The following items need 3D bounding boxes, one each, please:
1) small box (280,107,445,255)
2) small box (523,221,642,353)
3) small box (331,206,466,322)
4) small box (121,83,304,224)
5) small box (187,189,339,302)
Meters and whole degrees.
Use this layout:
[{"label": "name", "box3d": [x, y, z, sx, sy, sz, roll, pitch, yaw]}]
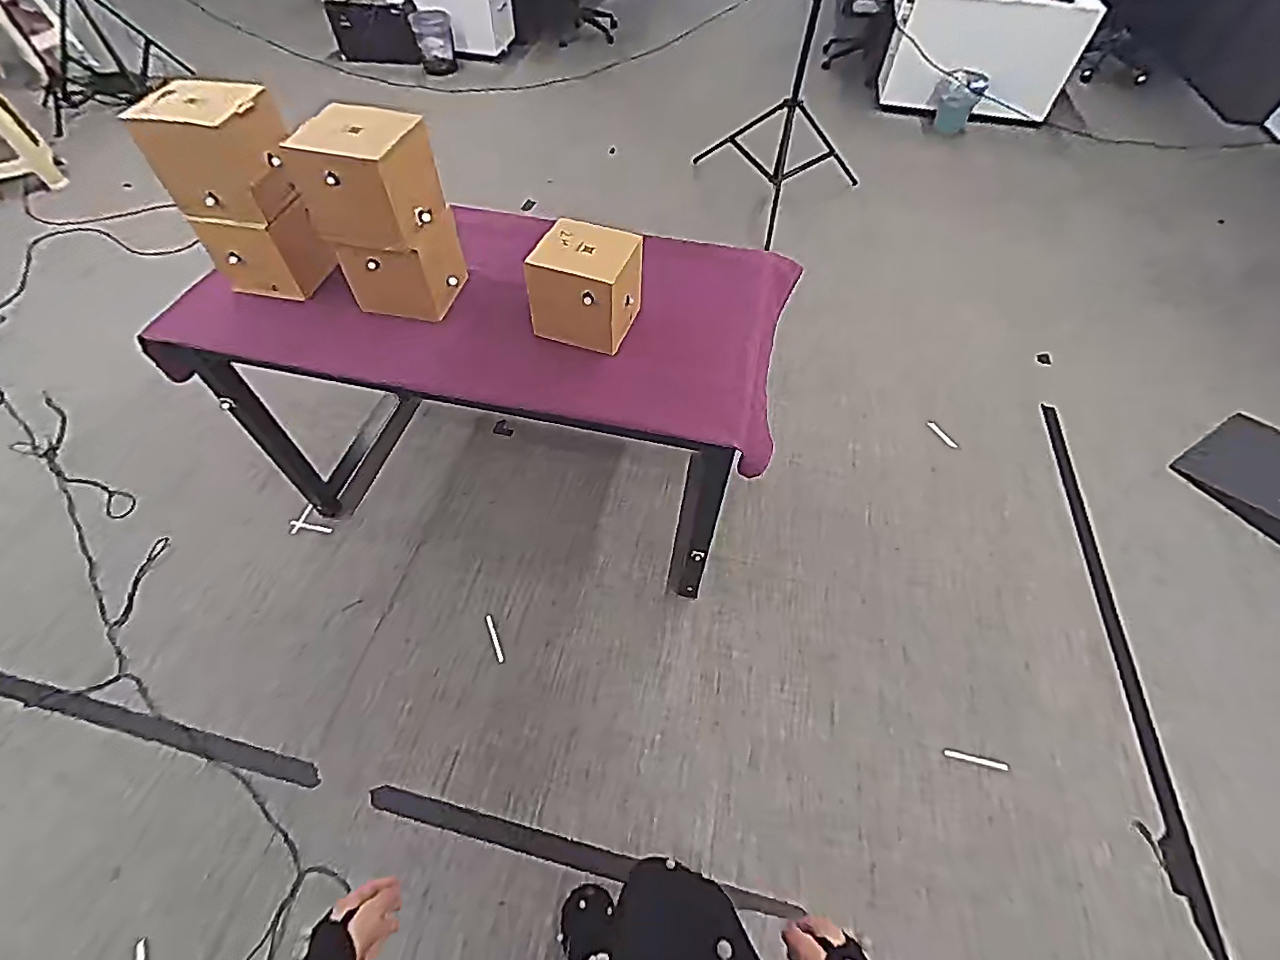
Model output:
[{"label": "small box", "box3d": [-0.479, -0.529, 0.965, 0.179, 0.176, 0.168, 12, 57, 5]}, {"label": "small box", "box3d": [-0.106, -0.376, 1.068, 0.179, 0.176, 0.168, 17, 55, 10]}, {"label": "small box", "box3d": [-0.480, -0.447, 1.105, 0.179, 0.176, 0.168, 10, 55, 4]}, {"label": "small box", "box3d": [-0.769, -0.599, 1.002, 0.179, 0.176, 0.168, 7, 54, 2]}, {"label": "small box", "box3d": [-0.770, -0.498, 1.132, 0.168, 0.176, 0.179, 8, 54, 4]}]
